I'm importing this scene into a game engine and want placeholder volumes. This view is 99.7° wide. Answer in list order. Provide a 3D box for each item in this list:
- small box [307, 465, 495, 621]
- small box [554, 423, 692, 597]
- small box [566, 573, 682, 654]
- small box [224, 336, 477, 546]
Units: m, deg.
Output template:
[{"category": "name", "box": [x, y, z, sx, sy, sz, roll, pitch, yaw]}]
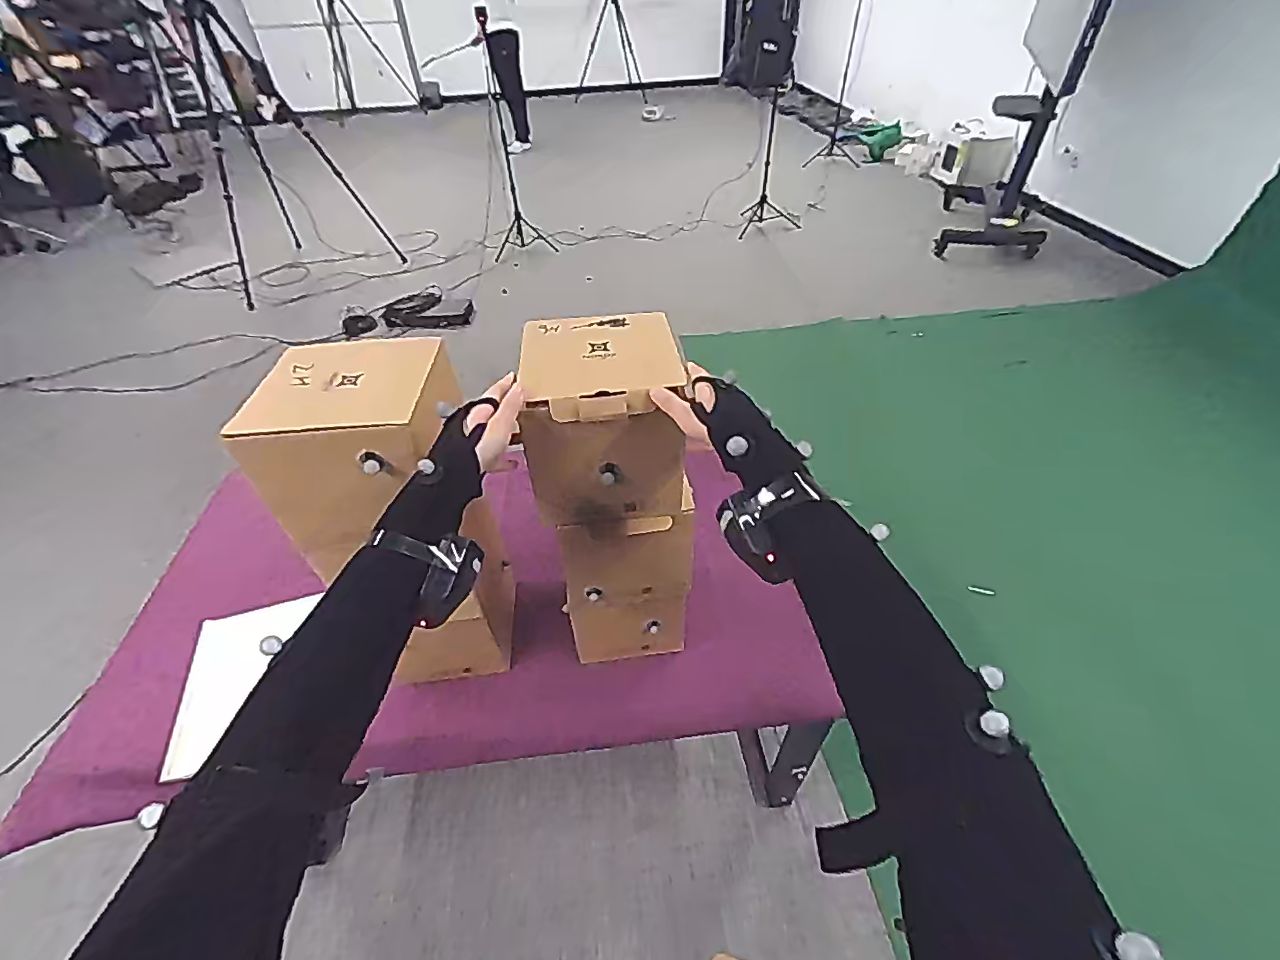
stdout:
[{"category": "small box", "box": [-0.299, 0.074, 0.725, 0.168, 0.176, 0.179, -6, 43, -3]}, {"category": "small box", "box": [-0.025, 0.045, 0.743, 0.168, 0.176, 0.179, -6, 43, -5]}, {"category": "small box", "box": [-0.025, 0.160, 0.859, 0.168, 0.176, 0.179, -5, 43, -3]}, {"category": "small box", "box": [-0.295, -0.043, 0.606, 0.179, 0.176, 0.168, -4, 42, -1]}]
